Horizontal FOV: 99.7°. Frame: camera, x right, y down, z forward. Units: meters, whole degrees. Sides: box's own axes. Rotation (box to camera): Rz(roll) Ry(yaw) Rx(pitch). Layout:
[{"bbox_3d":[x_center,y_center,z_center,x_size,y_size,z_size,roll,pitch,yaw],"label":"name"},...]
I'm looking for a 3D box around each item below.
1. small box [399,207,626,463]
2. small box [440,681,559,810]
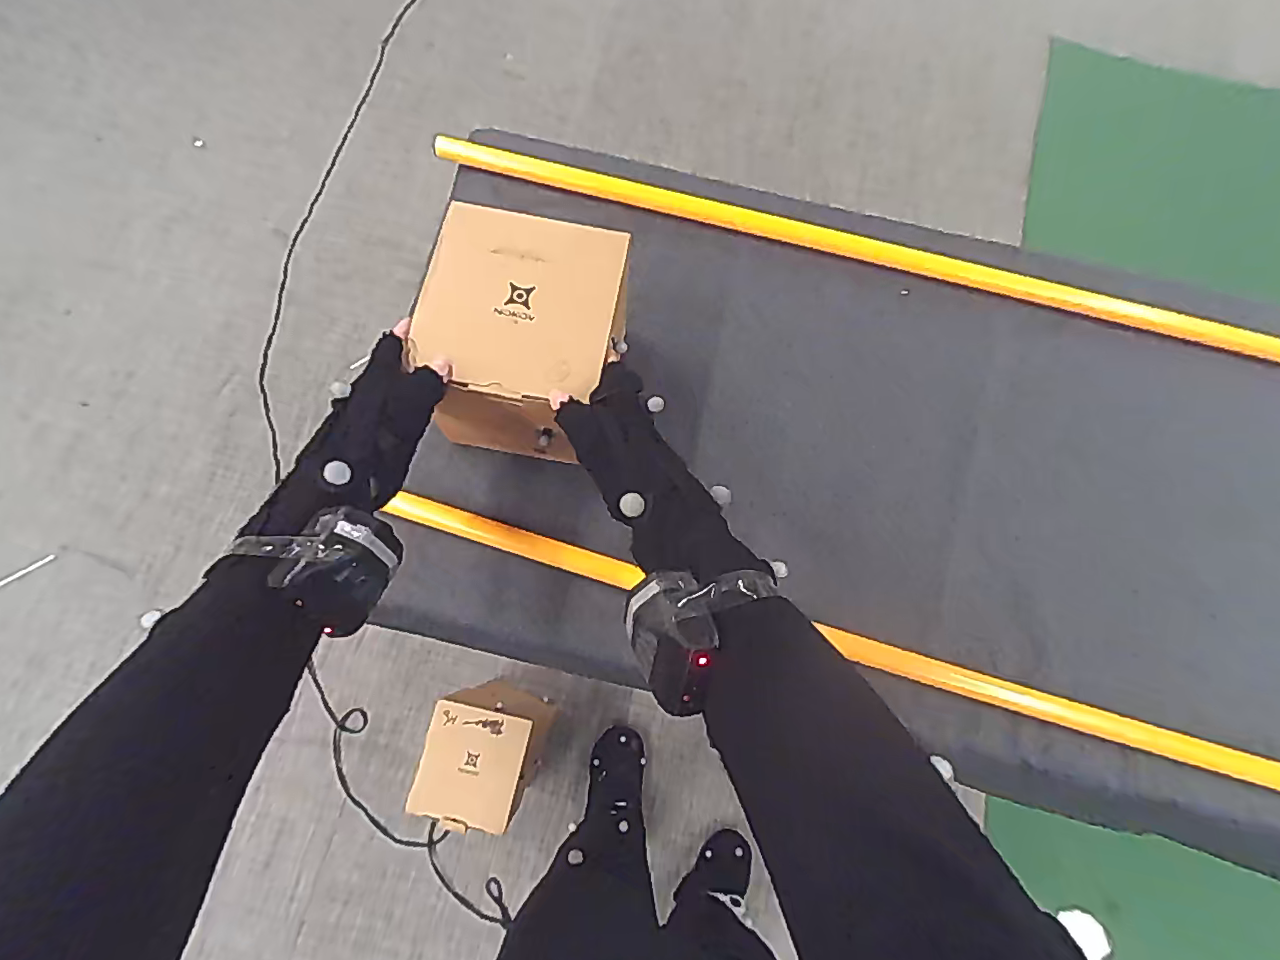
[{"bbox_3d":[-0.110,-0.130,0.543,0.168,0.176,0.179,10,73,-1],"label":"small box"},{"bbox_3d":[-0.276,0.531,1.111,0.168,0.176,0.179,22,76,4],"label":"small box"}]
